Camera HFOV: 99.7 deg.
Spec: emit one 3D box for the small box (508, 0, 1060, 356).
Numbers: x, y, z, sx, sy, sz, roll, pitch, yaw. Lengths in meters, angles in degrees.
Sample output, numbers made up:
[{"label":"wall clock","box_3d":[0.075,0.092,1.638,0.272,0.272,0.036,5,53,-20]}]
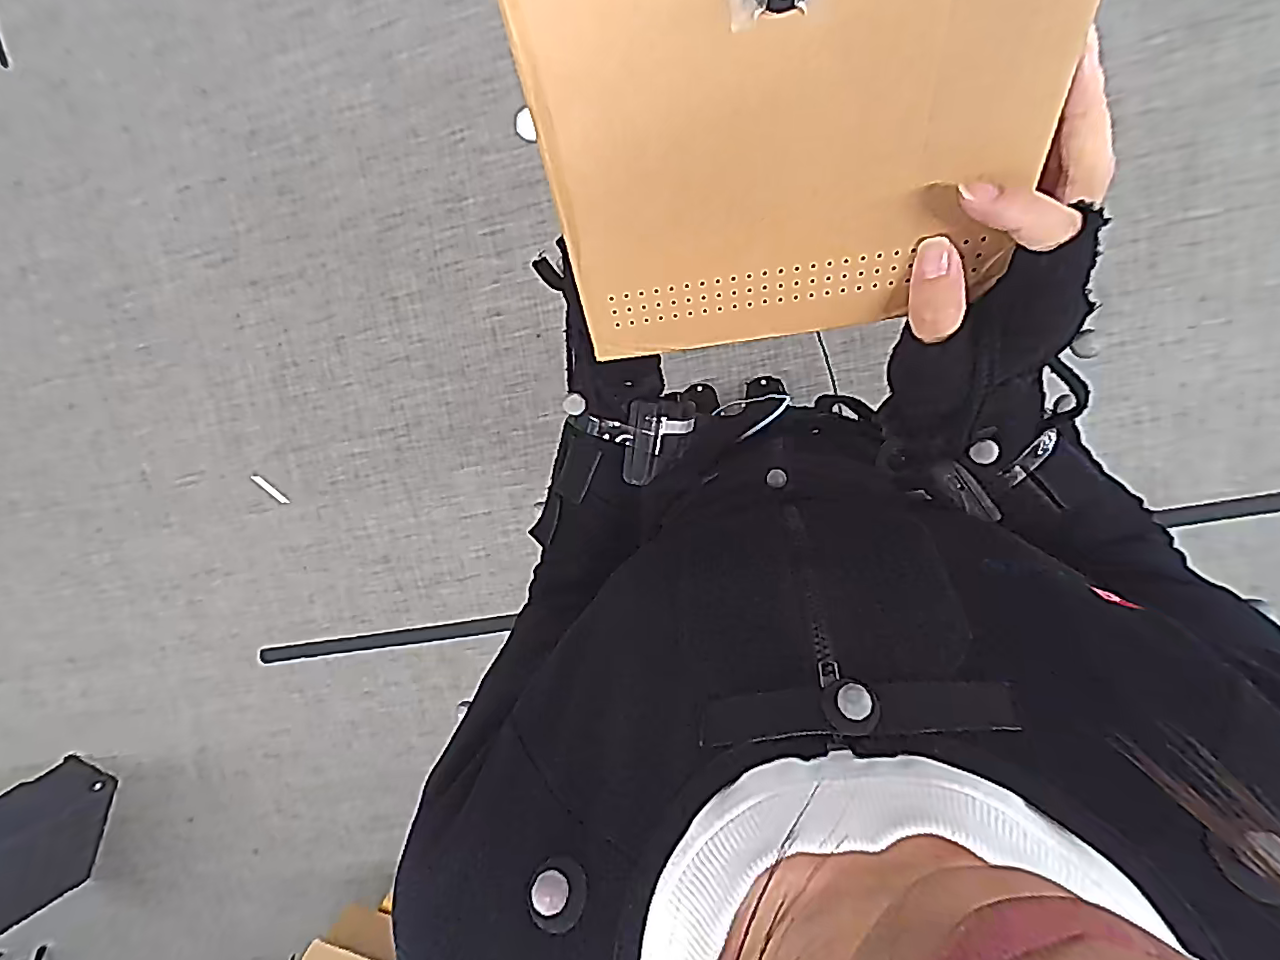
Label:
[{"label":"small box","box_3d":[0.054,-0.173,0.242,0.179,0.168,0.176,-6,138,8]}]
